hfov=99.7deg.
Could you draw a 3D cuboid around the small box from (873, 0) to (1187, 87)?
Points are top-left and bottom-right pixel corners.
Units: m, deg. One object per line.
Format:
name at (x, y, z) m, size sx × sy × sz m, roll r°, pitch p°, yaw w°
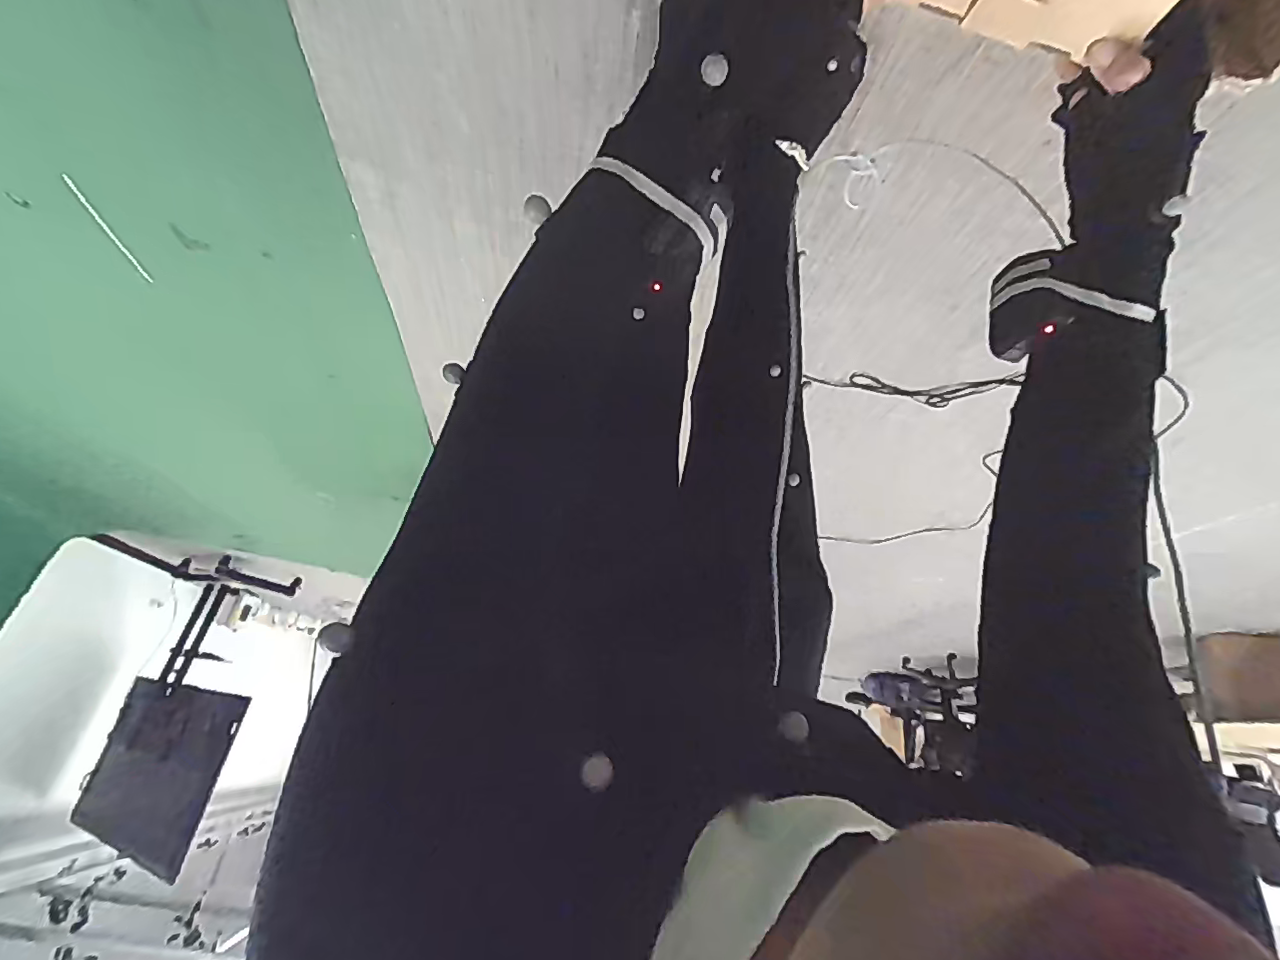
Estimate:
small box at (0.239, -0.368, 0.286) m, size 0.168 × 0.176 × 0.179 m, roll 11°, pitch 156°, yaw -6°
